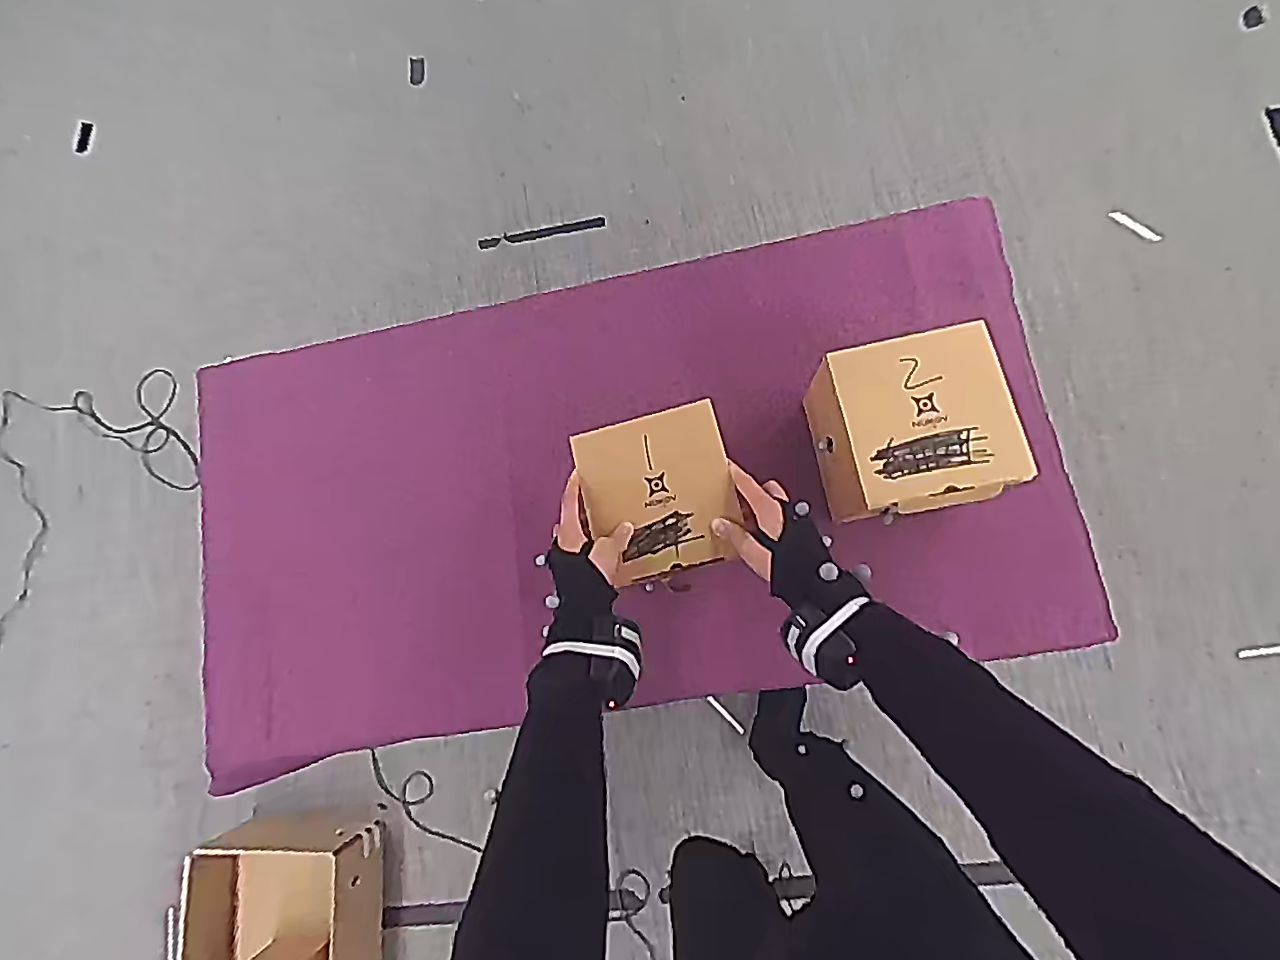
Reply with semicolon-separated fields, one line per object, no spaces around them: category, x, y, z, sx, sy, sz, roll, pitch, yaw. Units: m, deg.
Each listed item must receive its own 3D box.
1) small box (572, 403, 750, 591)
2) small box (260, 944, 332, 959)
small box;0.032;0.029;0.663;0.168;0.176;0.179;-15;78;5
small box;-0.859;1.243;1.278;0.179;0.176;0.168;-9;78;6
